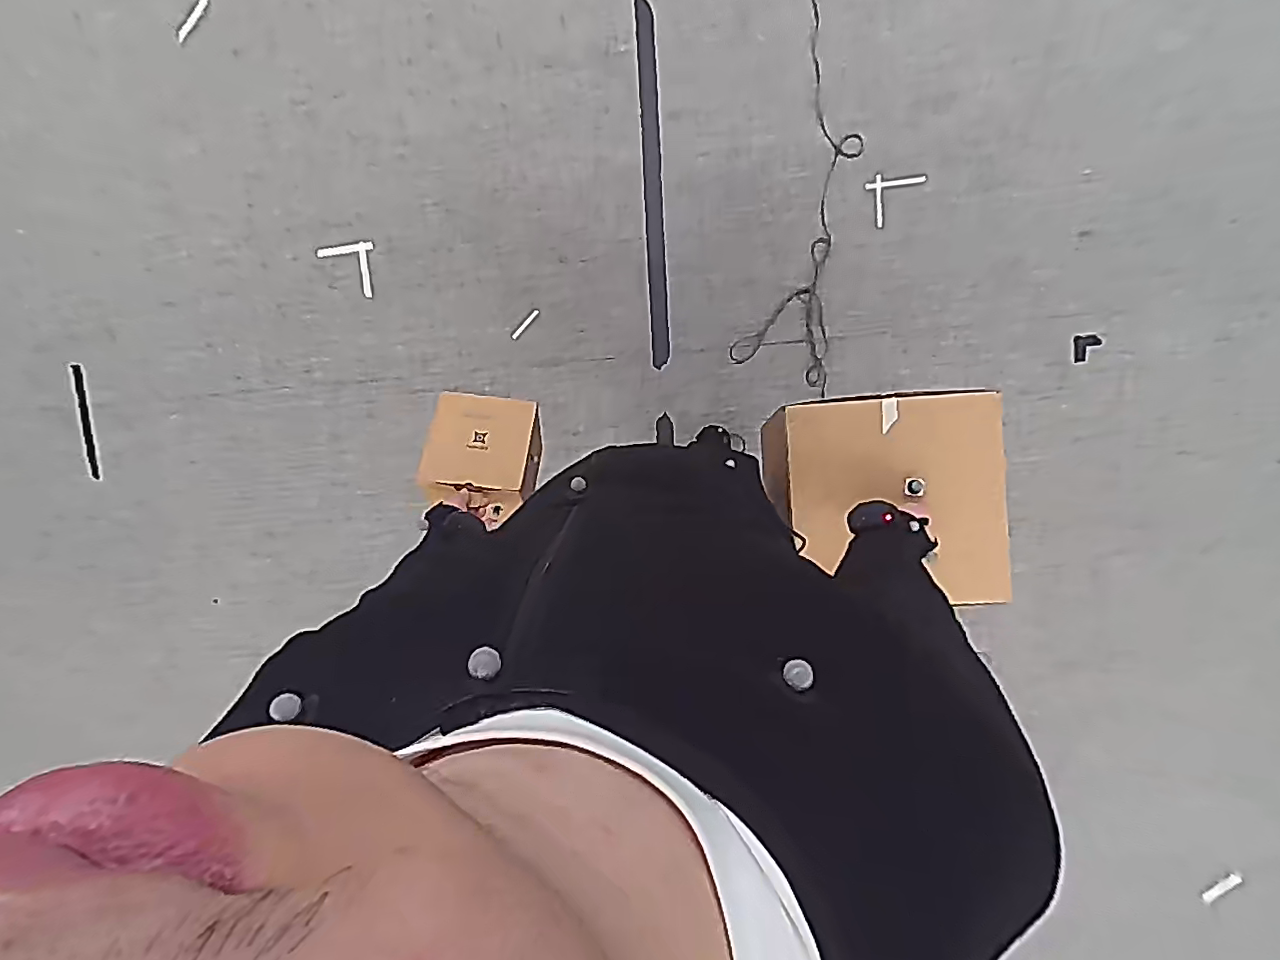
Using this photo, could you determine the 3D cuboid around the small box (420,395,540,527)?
[{"bbox_3d":[-0.276,-0.027,0.978,0.168,0.176,0.179,7,62,-5],"label":"small box"}]
